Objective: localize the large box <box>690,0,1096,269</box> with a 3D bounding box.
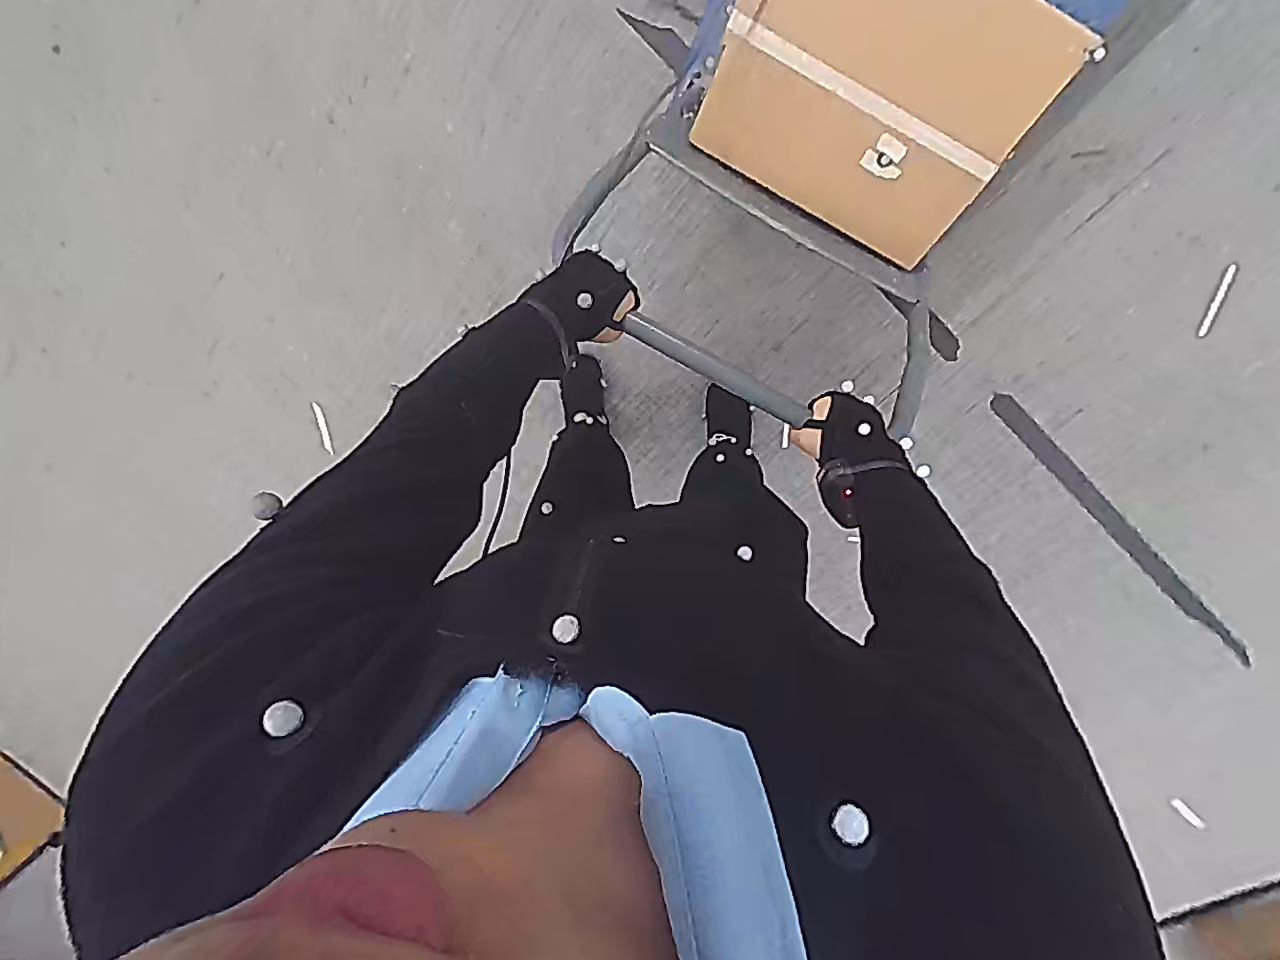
[{"bbox_3d":[0.343,-0.604,0.823,0.408,0.320,0.320,28,138,-4],"label":"large box"}]
